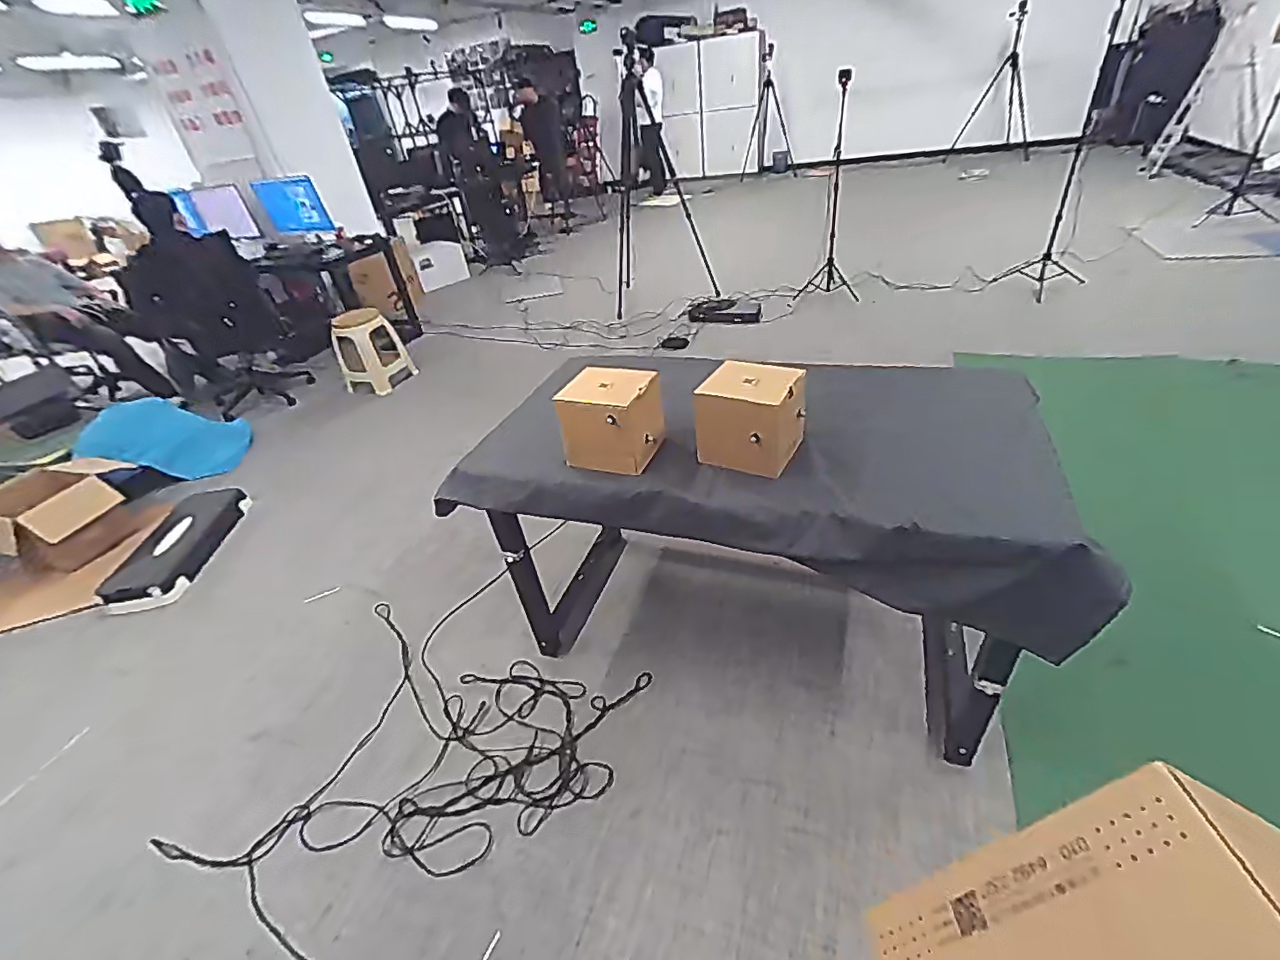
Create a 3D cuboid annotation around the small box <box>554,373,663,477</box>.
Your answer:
[{"bbox_3d":[-0.061,-0.122,1.180,0.179,0.176,0.168,8,37,22],"label":"small box"}]

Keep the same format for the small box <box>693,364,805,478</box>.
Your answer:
[{"bbox_3d":[0.228,-0.122,1.114,0.179,0.176,0.168,13,39,30],"label":"small box"}]
